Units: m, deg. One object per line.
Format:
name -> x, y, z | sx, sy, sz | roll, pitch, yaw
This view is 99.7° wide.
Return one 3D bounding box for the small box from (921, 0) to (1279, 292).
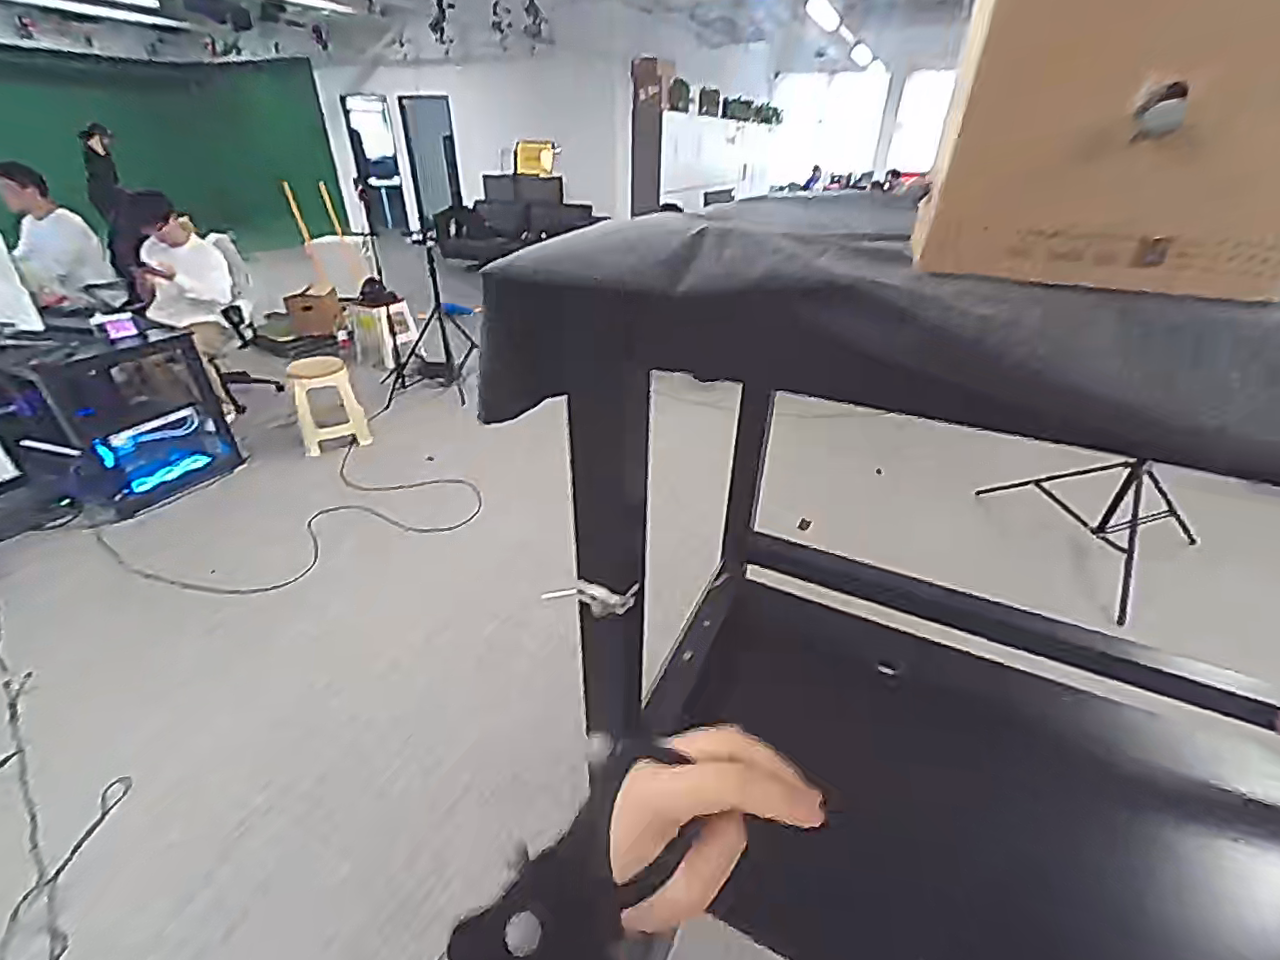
small box -> 0.275, -0.215, 0.311 | 0.168, 0.176, 0.179 | 14, 33, 18
